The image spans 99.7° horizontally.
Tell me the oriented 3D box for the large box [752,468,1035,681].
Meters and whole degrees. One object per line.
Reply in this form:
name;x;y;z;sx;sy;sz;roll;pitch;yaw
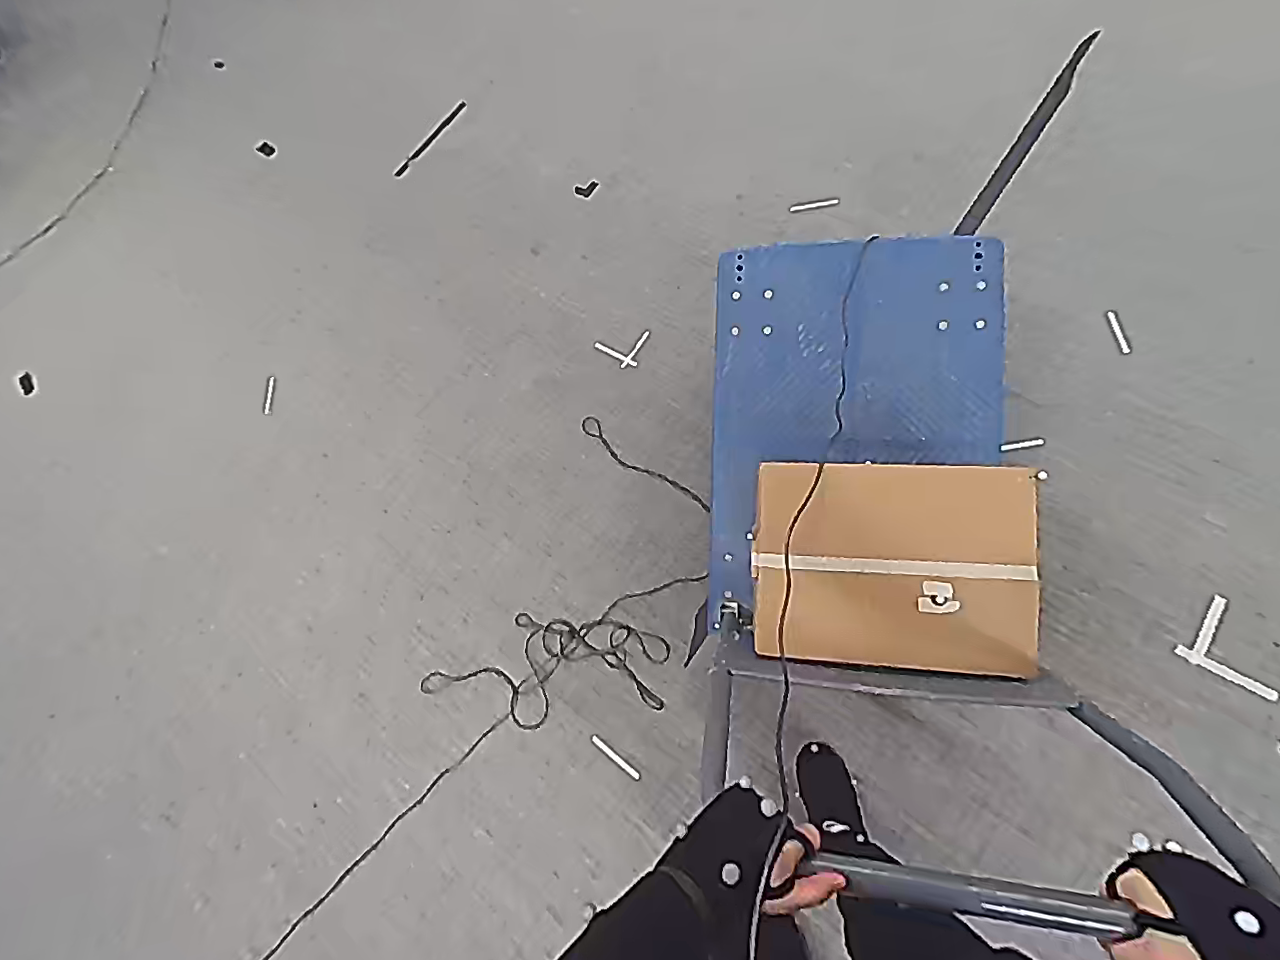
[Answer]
large box;0.411;0.148;0.977;0.408;0.320;0.320;2;89;11
